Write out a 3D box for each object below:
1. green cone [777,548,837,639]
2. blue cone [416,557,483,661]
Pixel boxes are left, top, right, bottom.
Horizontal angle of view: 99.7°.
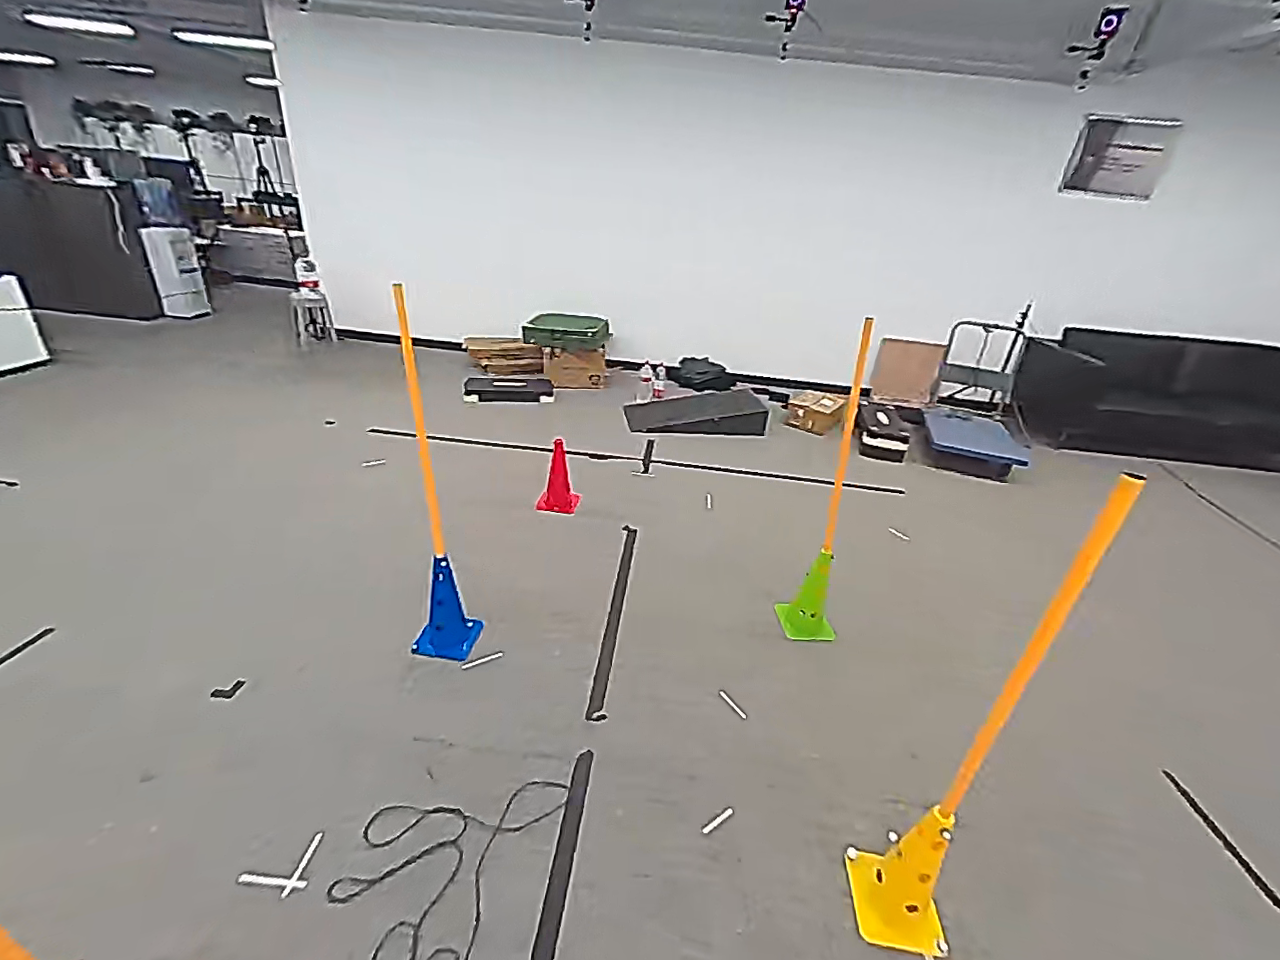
[{"bbox_3d":[0.684,0.418,2.093,0.200,0.368,0.202,2,29,-7],"label":"green cone"},{"bbox_3d":[-0.660,0.420,1.853,0.193,0.380,0.192,8,28,5],"label":"blue cone"}]
